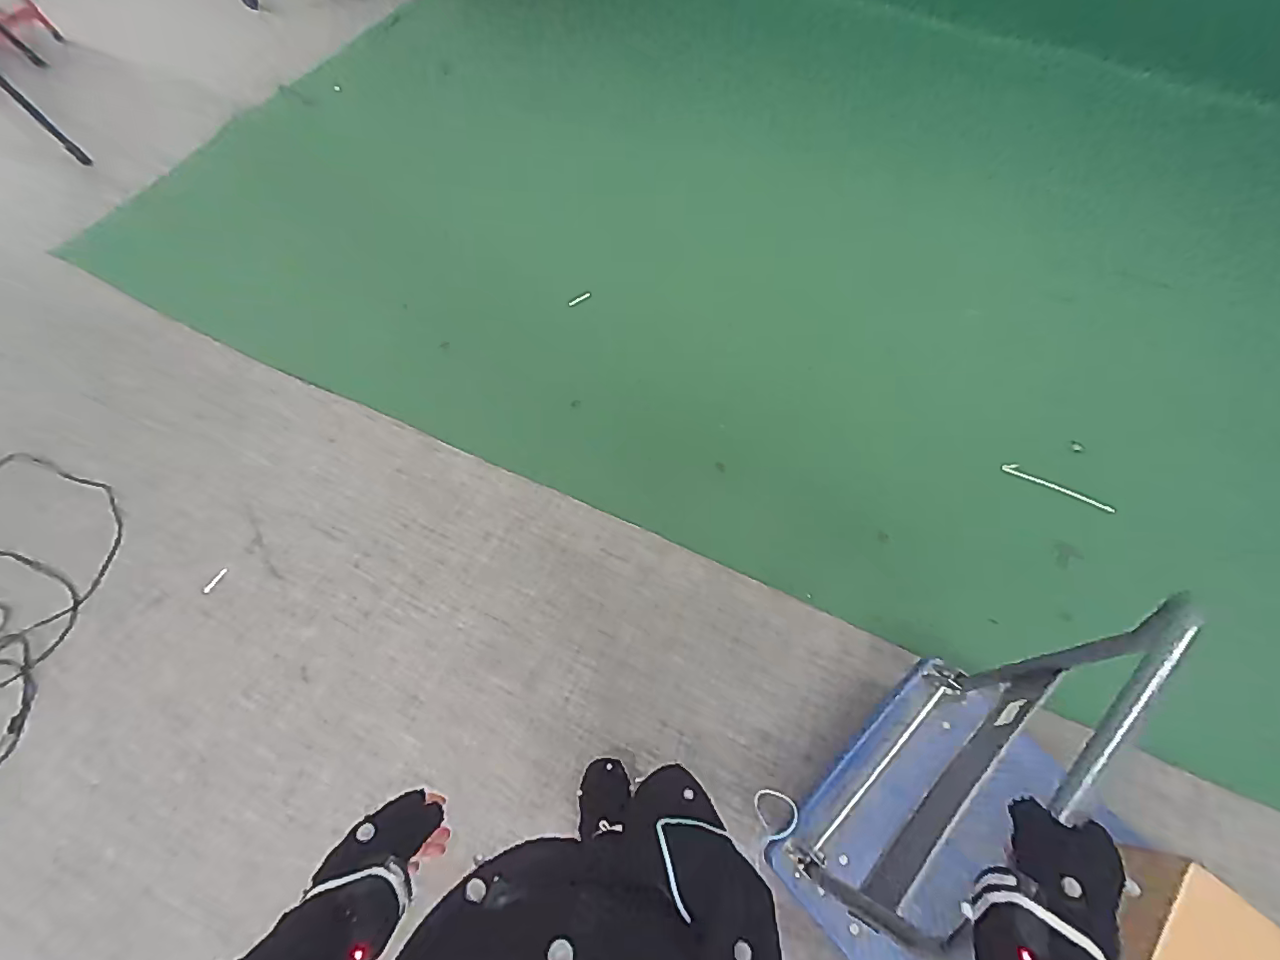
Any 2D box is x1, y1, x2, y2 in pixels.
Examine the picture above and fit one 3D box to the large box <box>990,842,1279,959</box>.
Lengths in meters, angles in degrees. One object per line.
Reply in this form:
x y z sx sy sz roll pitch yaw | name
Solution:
0.775 0.853 0.815 0.320 0.320 0.408 42 68 17 | large box
